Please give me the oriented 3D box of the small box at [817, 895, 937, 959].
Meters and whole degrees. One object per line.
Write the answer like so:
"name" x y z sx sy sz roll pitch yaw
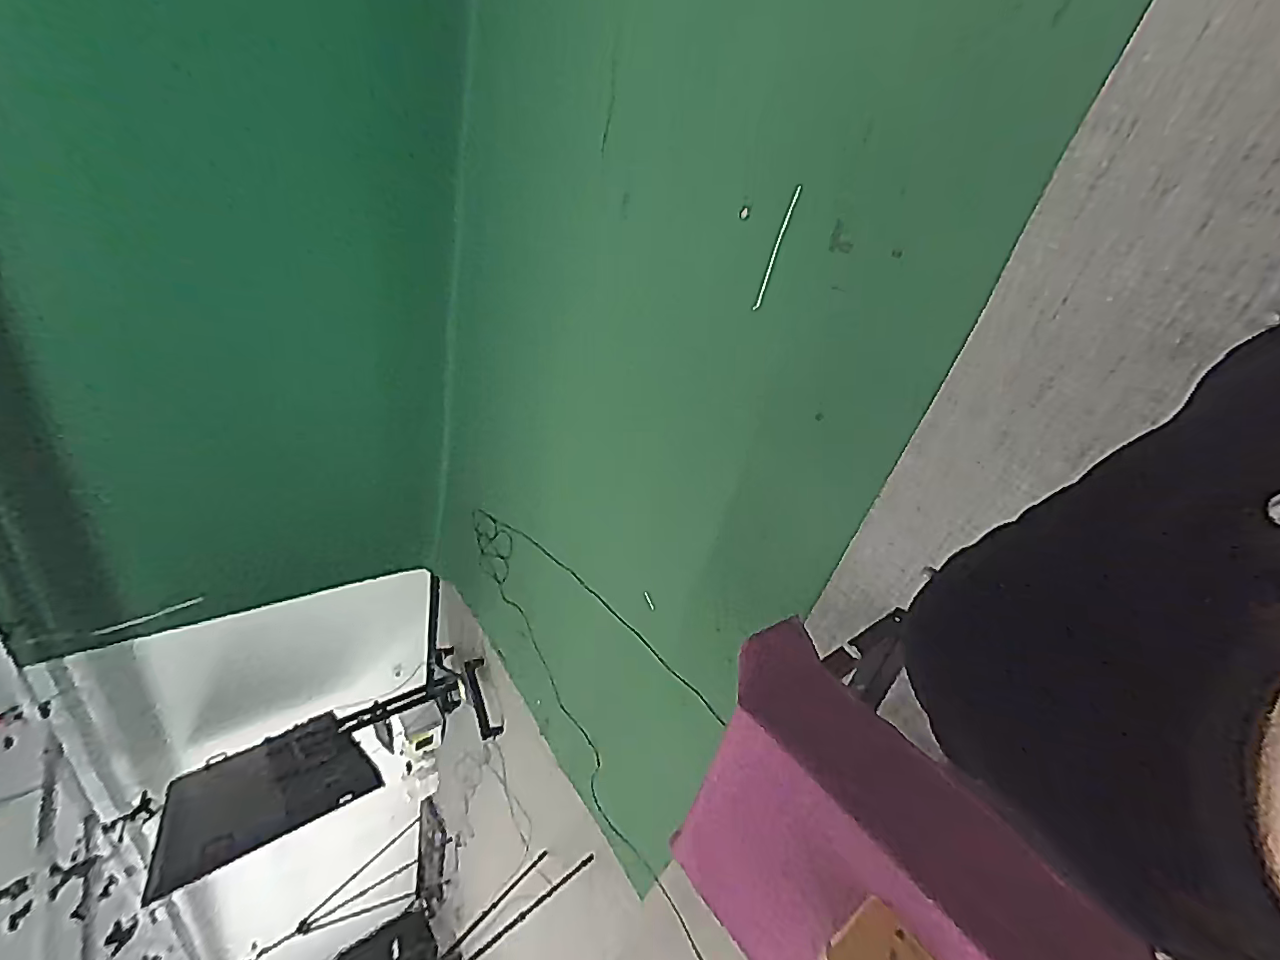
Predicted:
"small box" 0.395 0.856 0.907 0.168 0.176 0.179 40 128 38
